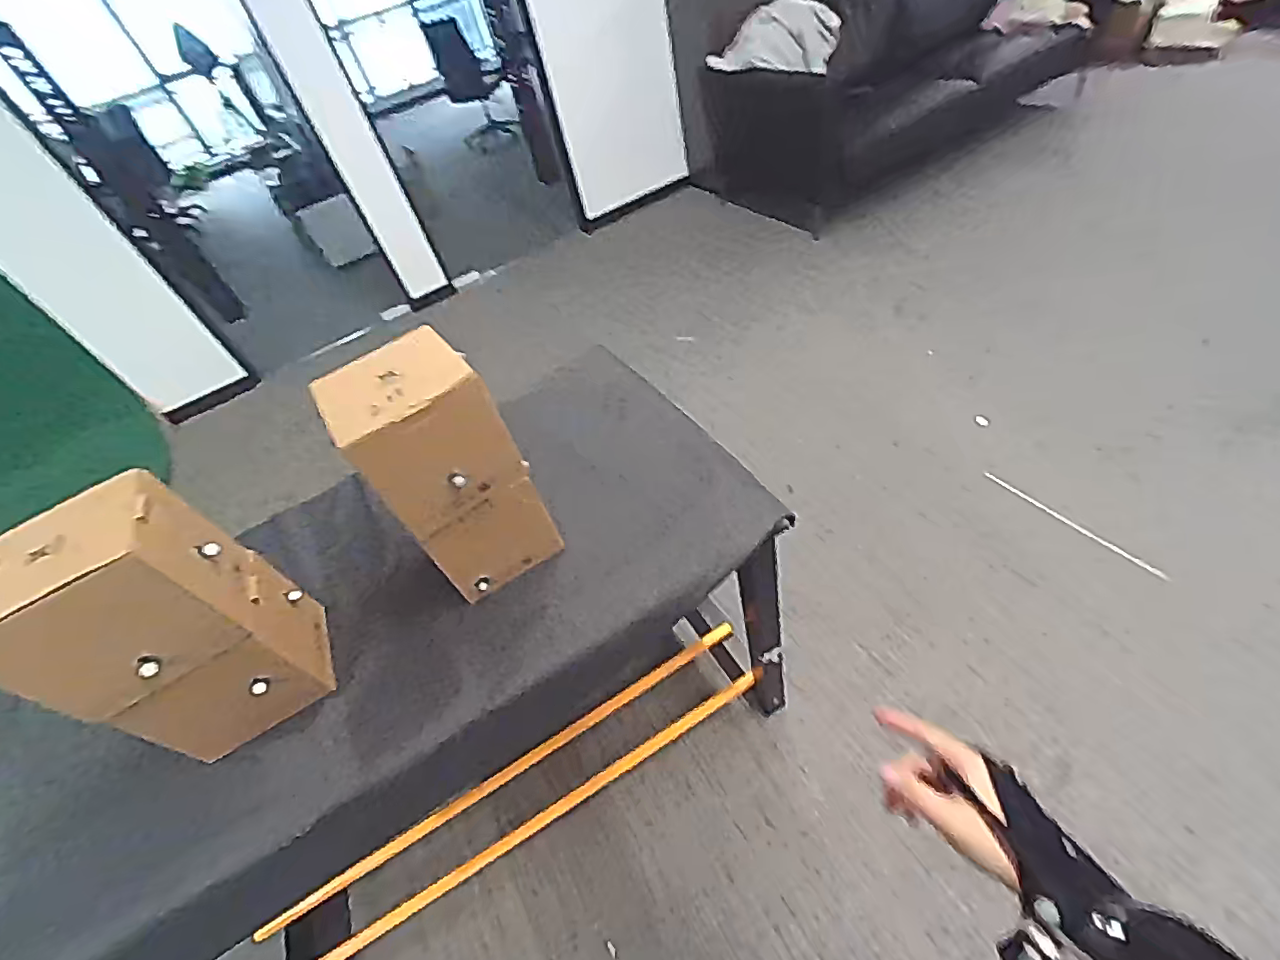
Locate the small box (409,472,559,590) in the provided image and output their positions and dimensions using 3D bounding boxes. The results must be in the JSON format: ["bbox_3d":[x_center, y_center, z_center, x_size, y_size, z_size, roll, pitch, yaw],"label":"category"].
[{"bbox_3d":[-0.245,0.043,0.822,0.168,0.176,0.179,-30,46,-13],"label":"small box"}]

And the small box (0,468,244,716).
[{"bbox_3d":[-0.584,0.125,0.609,0.179,0.176,0.168,-32,46,-15],"label":"small box"}]

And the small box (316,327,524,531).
[{"bbox_3d":[-0.280,-0.066,0.703,0.168,0.176,0.179,-35,48,-16],"label":"small box"}]

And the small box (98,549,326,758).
[{"bbox_3d":[-0.552,0.233,0.729,0.179,0.176,0.168,-31,46,-13],"label":"small box"}]
